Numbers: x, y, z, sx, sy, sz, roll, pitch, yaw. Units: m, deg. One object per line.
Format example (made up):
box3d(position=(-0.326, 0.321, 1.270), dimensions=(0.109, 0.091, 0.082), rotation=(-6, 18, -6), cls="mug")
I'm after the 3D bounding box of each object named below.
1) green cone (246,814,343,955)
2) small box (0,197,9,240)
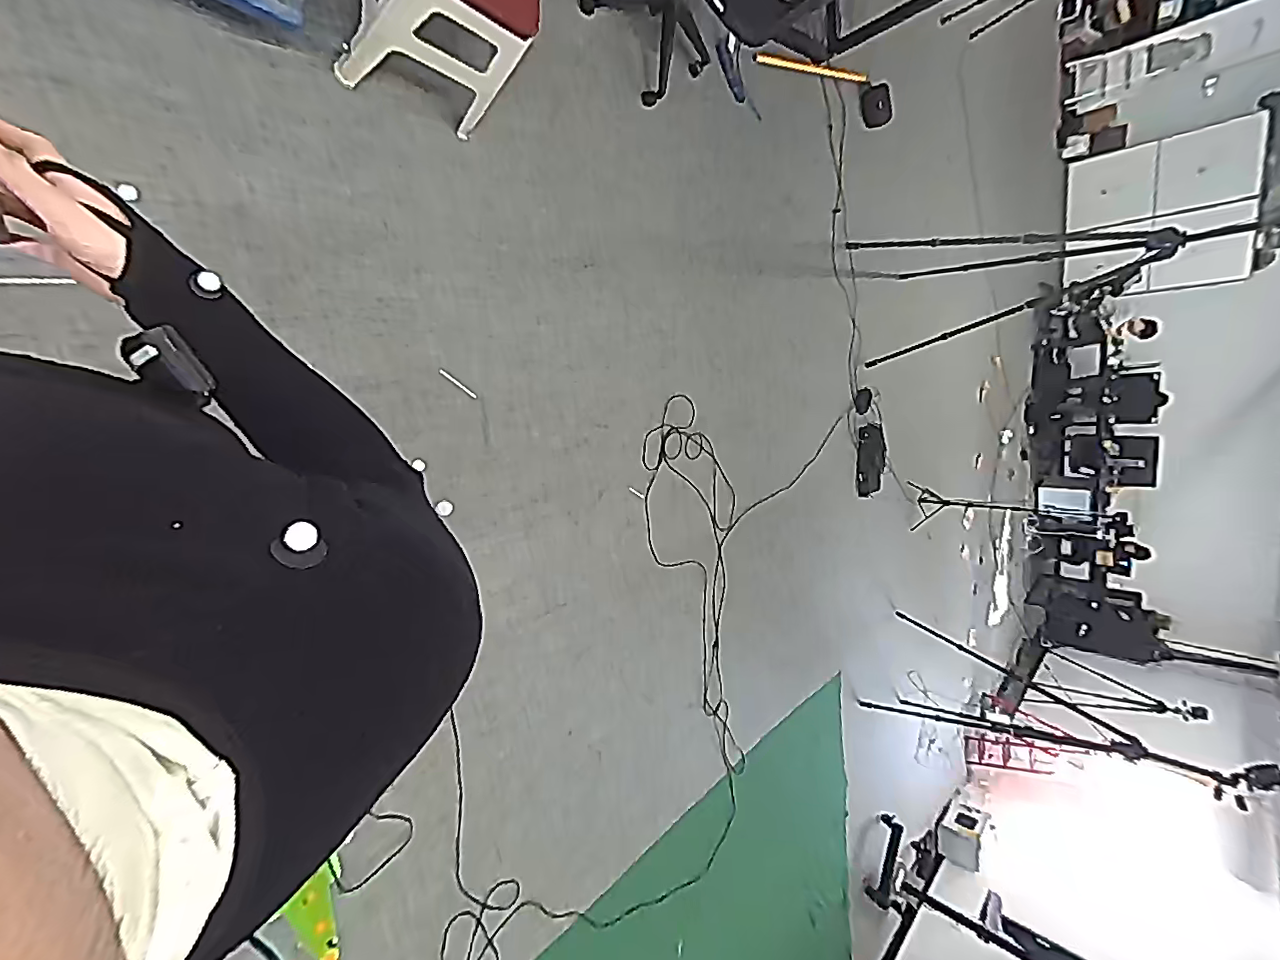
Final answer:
box3d(position=(-0.847, 1.086, 1.393), dimensions=(0.202, 0.368, 0.200), rotation=(-17, 107, -43), cls="green cone")
box3d(position=(-0.541, -0.259, 0.330), dimensions=(0.168, 0.176, 0.179), rotation=(-18, 108, -42), cls="small box")
